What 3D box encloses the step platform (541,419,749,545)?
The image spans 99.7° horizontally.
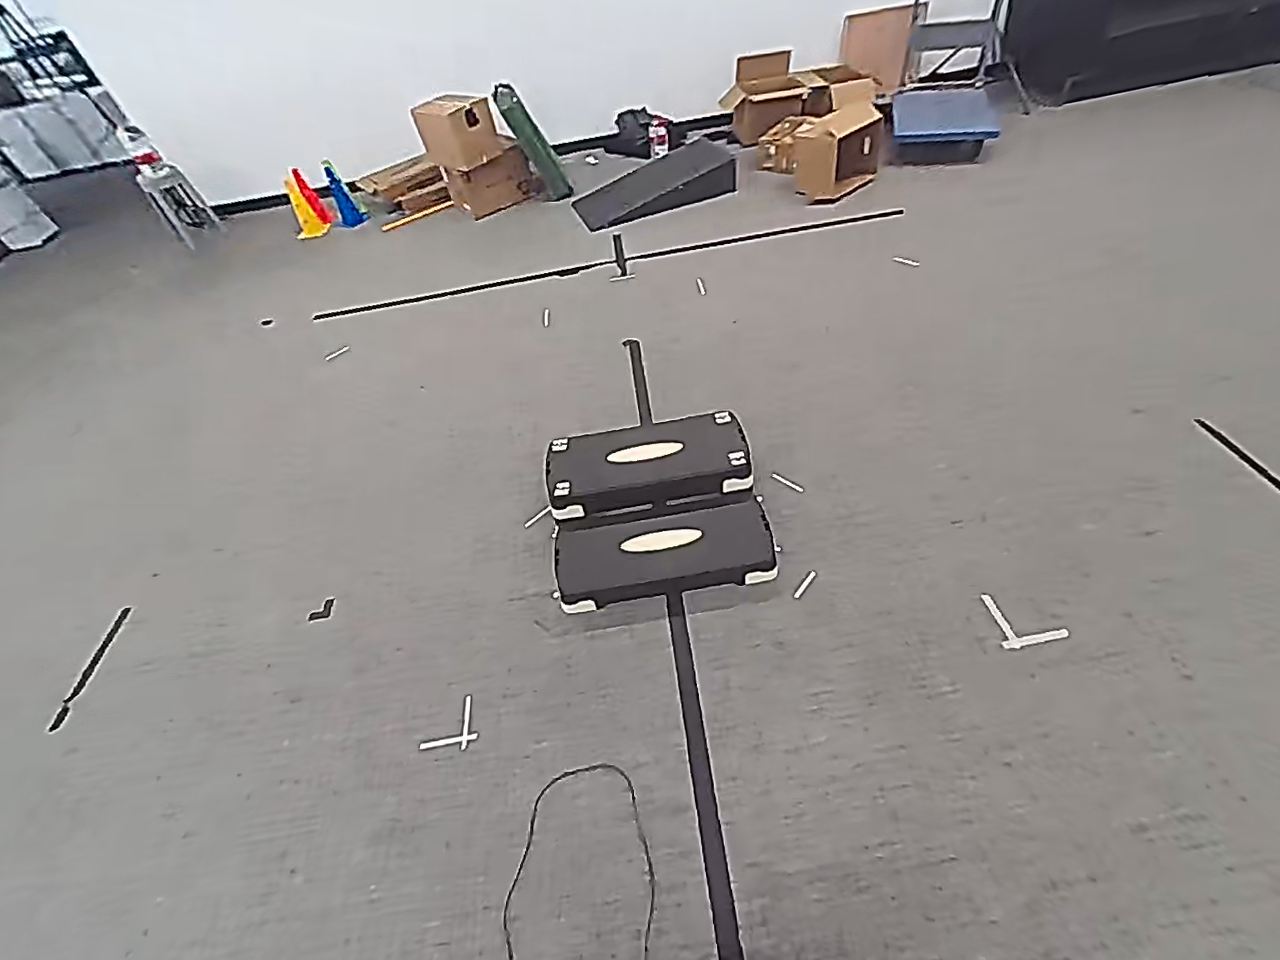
[{"bbox_3d":[0.015,0.000,1.817,0.684,0.204,0.286,-10,49,0],"label":"step platform"}]
